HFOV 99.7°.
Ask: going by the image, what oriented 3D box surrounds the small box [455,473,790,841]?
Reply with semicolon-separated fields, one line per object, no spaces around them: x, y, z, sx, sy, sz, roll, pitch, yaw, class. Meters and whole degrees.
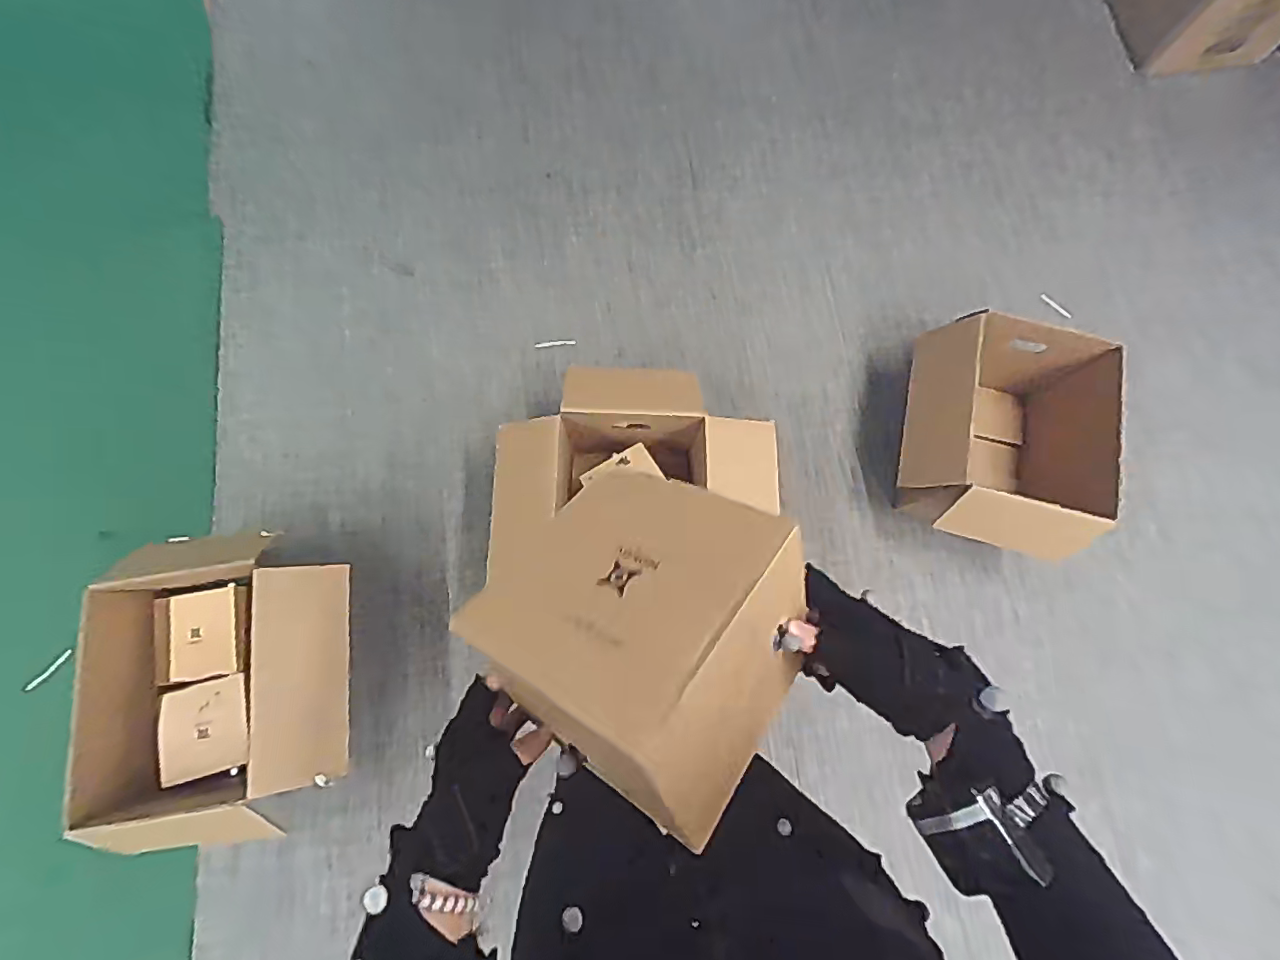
0.004;0.128;0.414;0.168;0.176;0.179;18;54;35;small box
